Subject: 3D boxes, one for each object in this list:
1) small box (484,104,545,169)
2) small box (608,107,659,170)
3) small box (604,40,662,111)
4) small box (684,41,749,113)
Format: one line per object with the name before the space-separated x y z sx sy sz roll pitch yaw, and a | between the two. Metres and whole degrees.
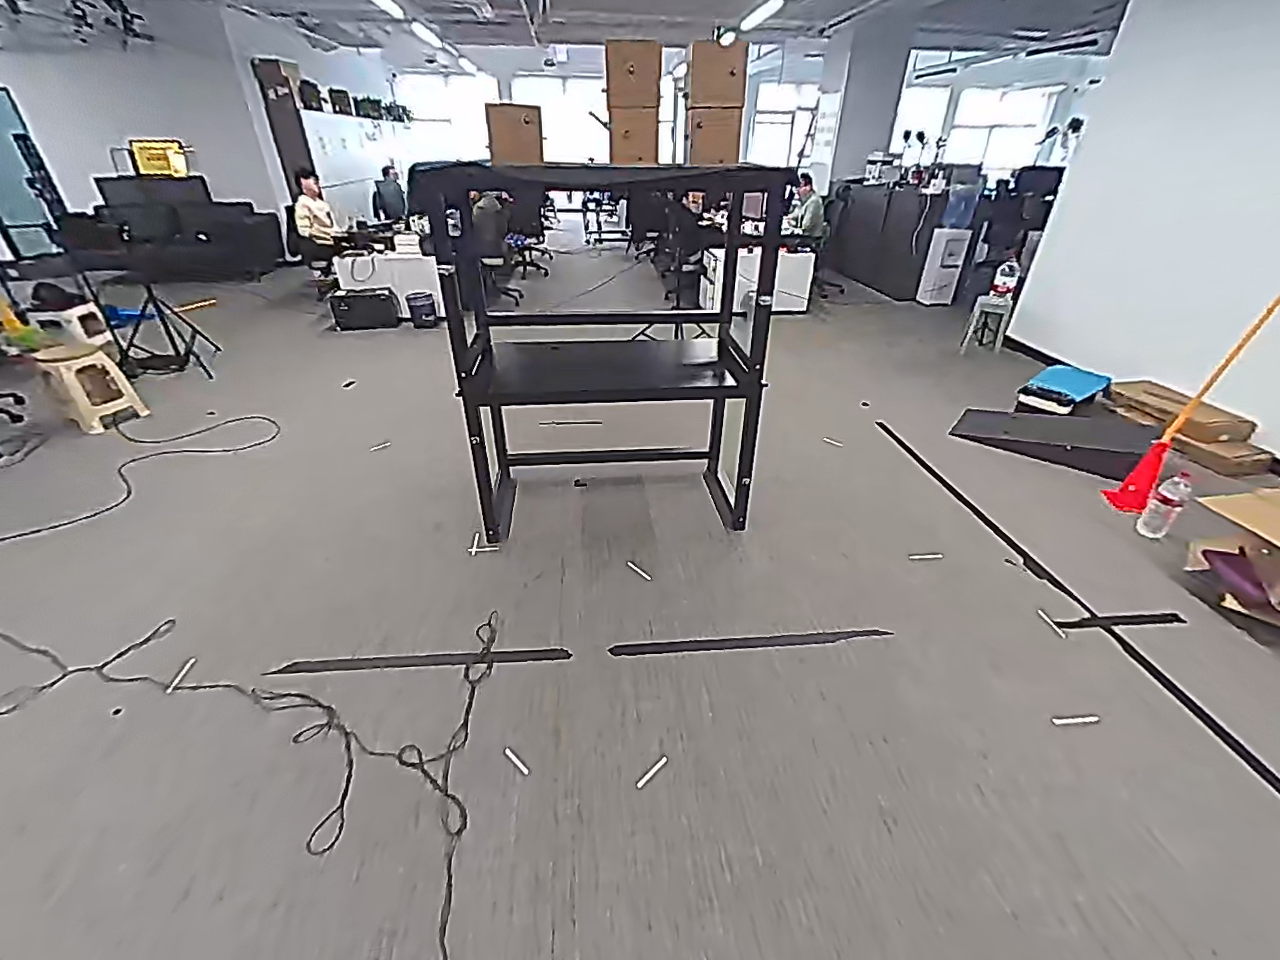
small box | -0.401 -1.113 1.757 0.179 0.176 0.168 -5 30 -9
small box | -0.022 -1.140 1.811 0.168 0.176 0.179 -1 30 -2
small box | -0.022 -1.277 1.720 0.179 0.176 0.168 -2 30 -1
small box | 0.239 -1.281 1.729 0.179 0.176 0.168 -3 29 -3
